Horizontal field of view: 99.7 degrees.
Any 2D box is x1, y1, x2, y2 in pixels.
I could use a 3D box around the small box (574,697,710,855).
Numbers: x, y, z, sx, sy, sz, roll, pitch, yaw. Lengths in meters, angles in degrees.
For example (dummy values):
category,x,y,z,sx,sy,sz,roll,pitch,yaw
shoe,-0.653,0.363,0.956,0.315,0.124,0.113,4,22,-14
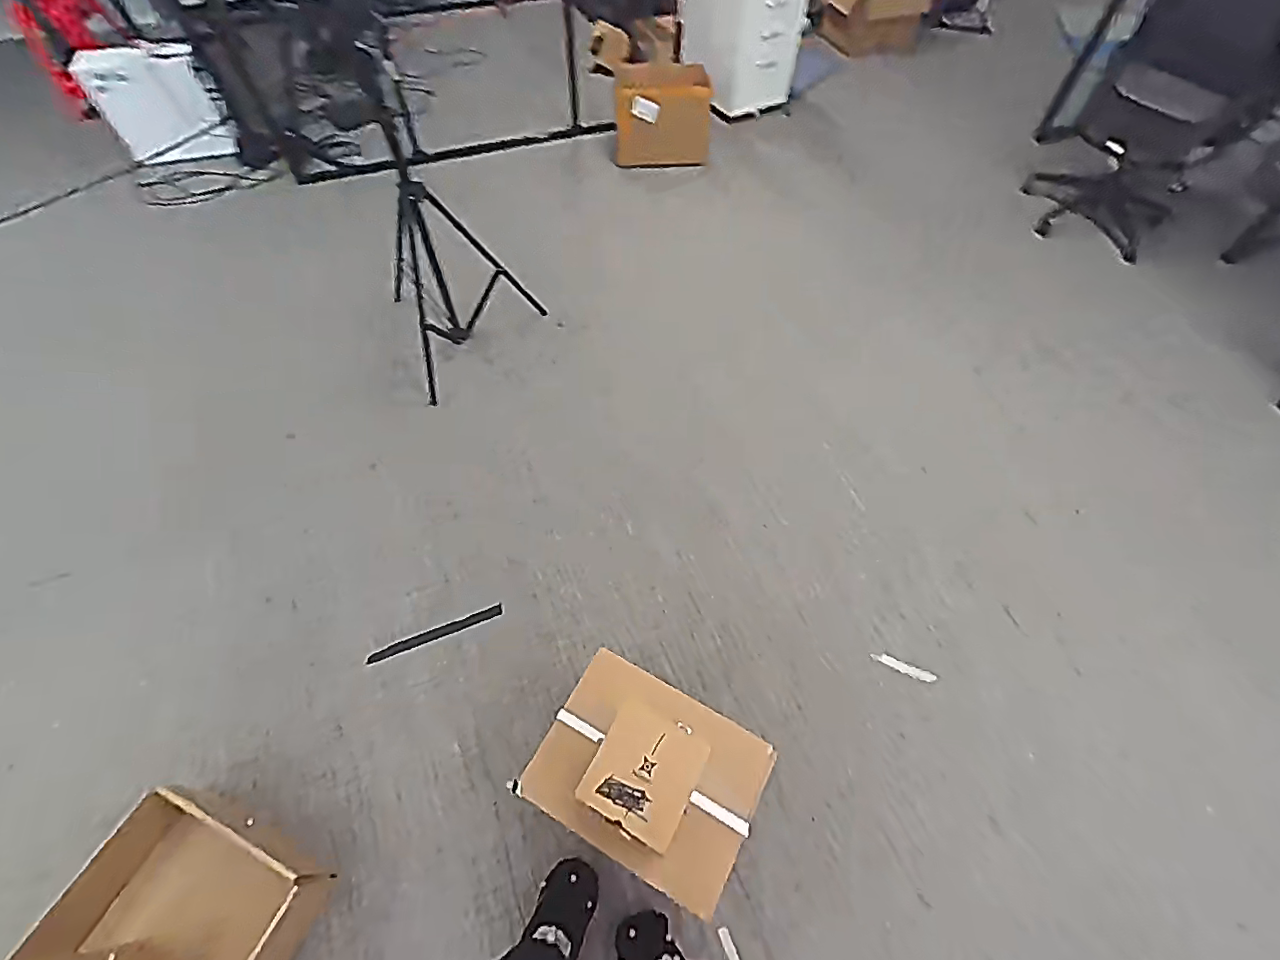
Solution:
category,x,y,z,sx,sy,sz,roll,pitch,yaw
small box,0.006,0.516,0.943,0.168,0.176,0.179,26,60,14
